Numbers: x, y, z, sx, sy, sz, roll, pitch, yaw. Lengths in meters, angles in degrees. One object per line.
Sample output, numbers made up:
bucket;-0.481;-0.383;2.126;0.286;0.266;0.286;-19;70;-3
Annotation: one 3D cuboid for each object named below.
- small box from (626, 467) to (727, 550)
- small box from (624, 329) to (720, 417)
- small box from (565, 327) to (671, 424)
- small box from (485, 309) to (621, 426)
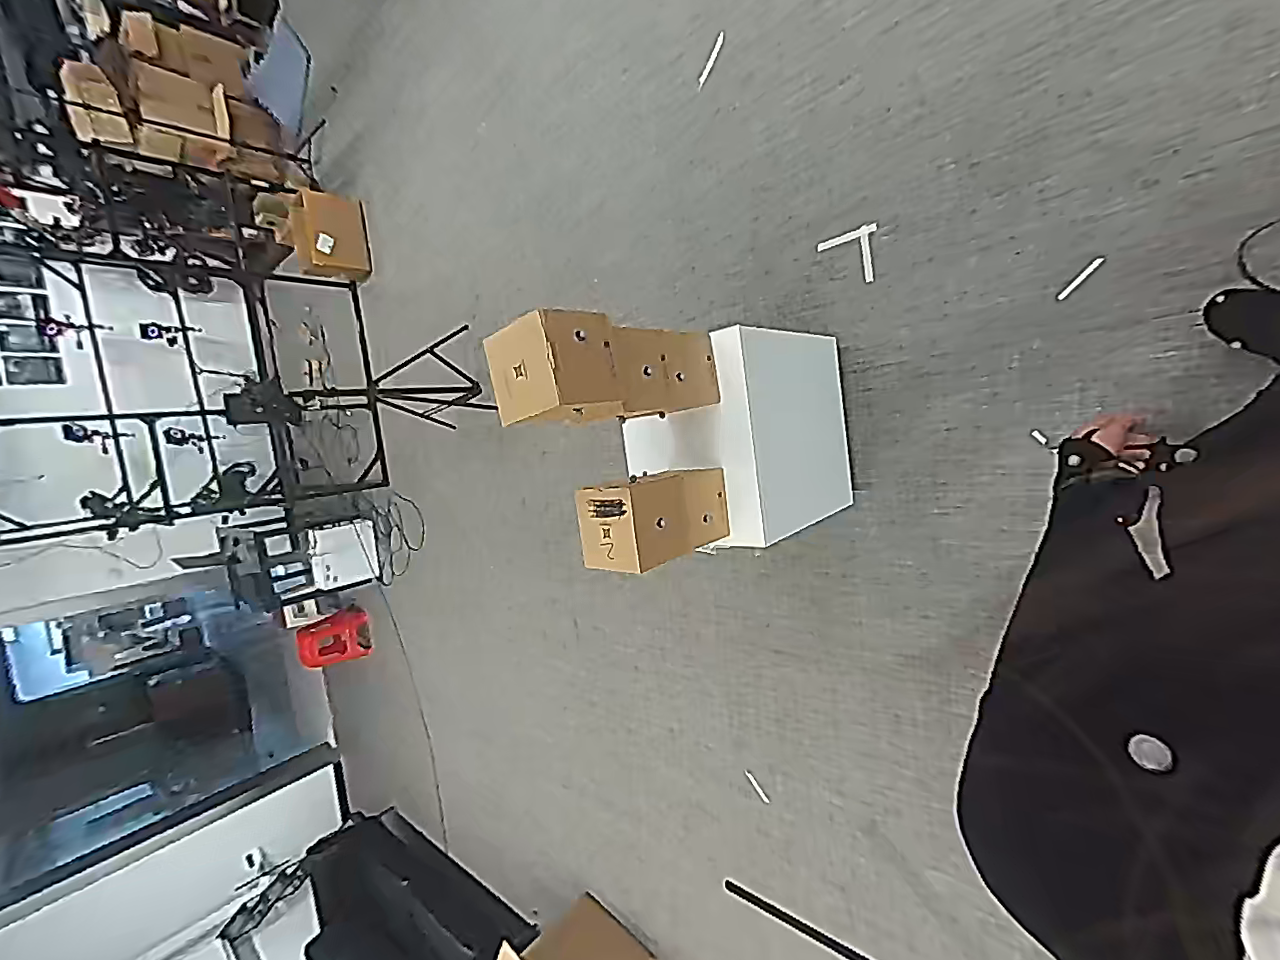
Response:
small box;0.093;0.062;1.280;0.179;0.176;0.168;-2;97;43
small box;0.059;-0.243;1.242;0.179;0.176;0.168;-6;96;43
small box;-0.051;-0.215;1.122;0.179;0.176;0.168;-5;96;43
small box;-0.152;-0.203;0.993;0.179;0.176;0.168;-12;91;43
